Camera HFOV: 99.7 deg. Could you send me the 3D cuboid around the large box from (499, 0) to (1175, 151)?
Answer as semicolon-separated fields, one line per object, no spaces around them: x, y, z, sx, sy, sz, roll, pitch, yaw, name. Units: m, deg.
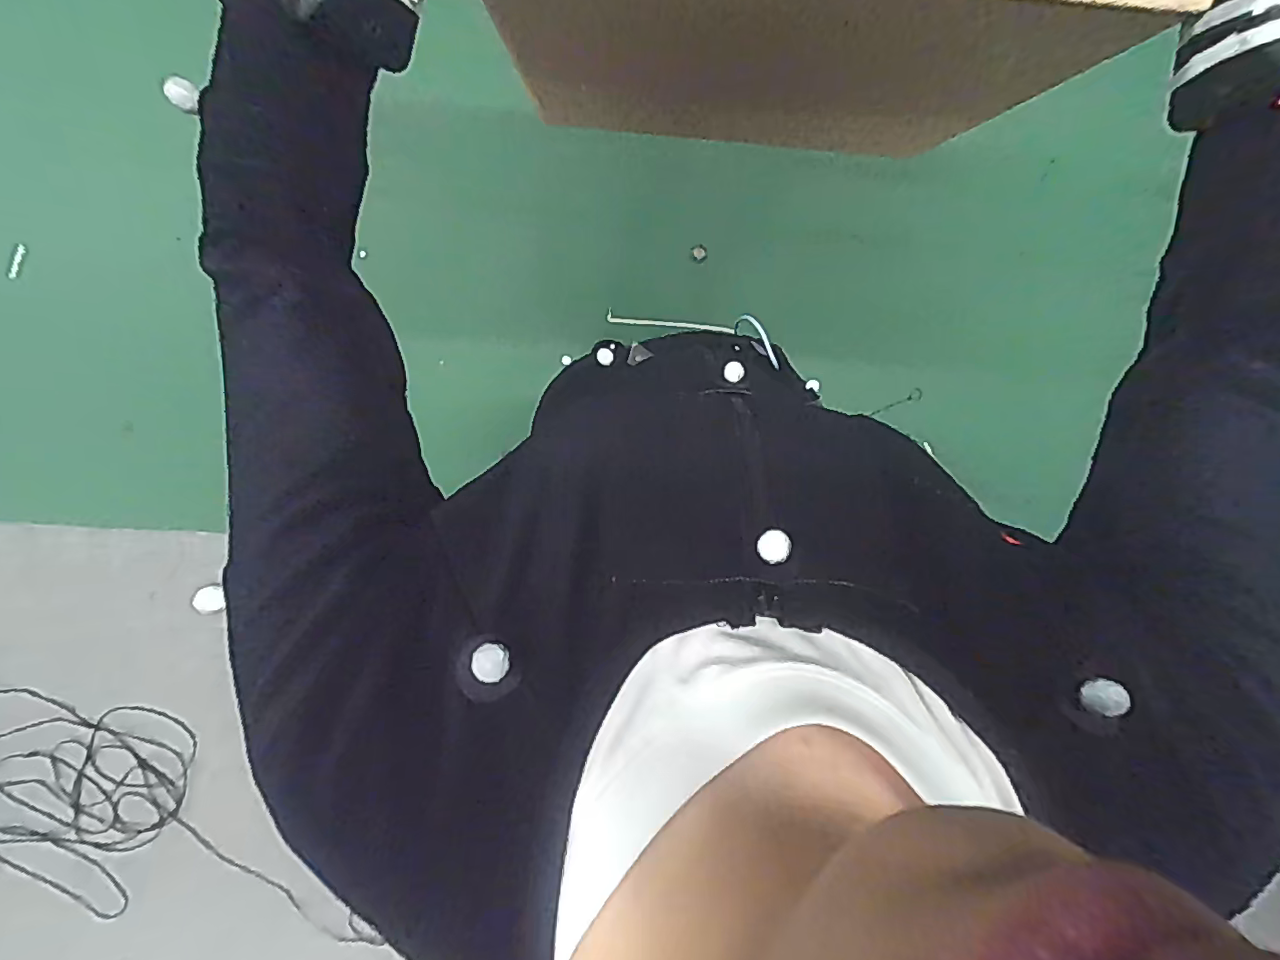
0.109;-0.462;0.389;0.408;0.320;0.320;3;108;-3;large box
